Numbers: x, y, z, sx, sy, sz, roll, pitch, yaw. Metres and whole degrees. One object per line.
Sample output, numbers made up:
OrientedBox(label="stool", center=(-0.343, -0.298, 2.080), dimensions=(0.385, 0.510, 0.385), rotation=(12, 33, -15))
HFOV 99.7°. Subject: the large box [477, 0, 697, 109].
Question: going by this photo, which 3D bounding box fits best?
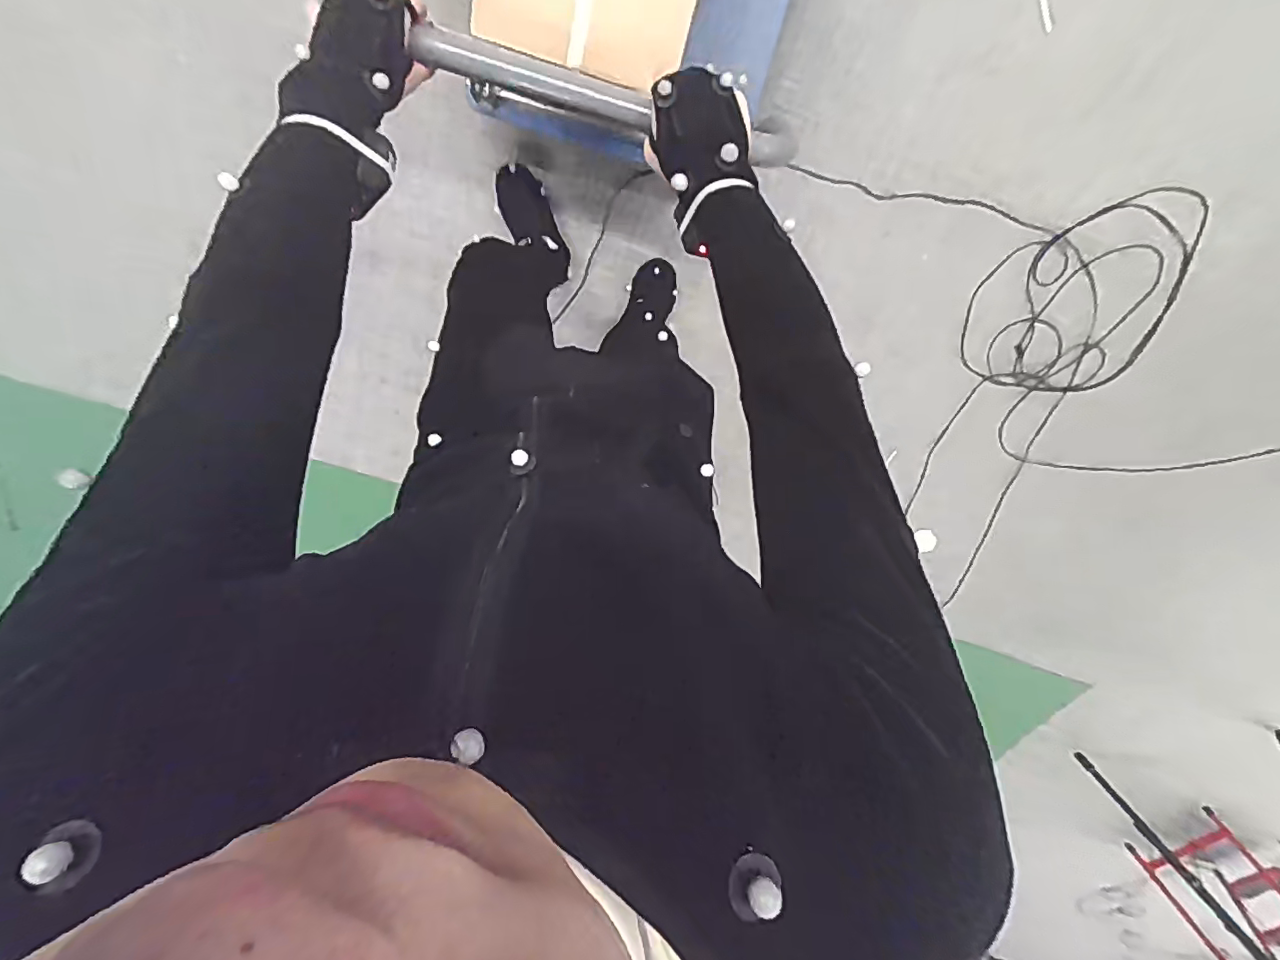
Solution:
OrientedBox(label="large box", center=(-0.044, -0.878, 0.860), dimensions=(0.320, 0.320, 0.408), rotation=(14, 119, -7))
